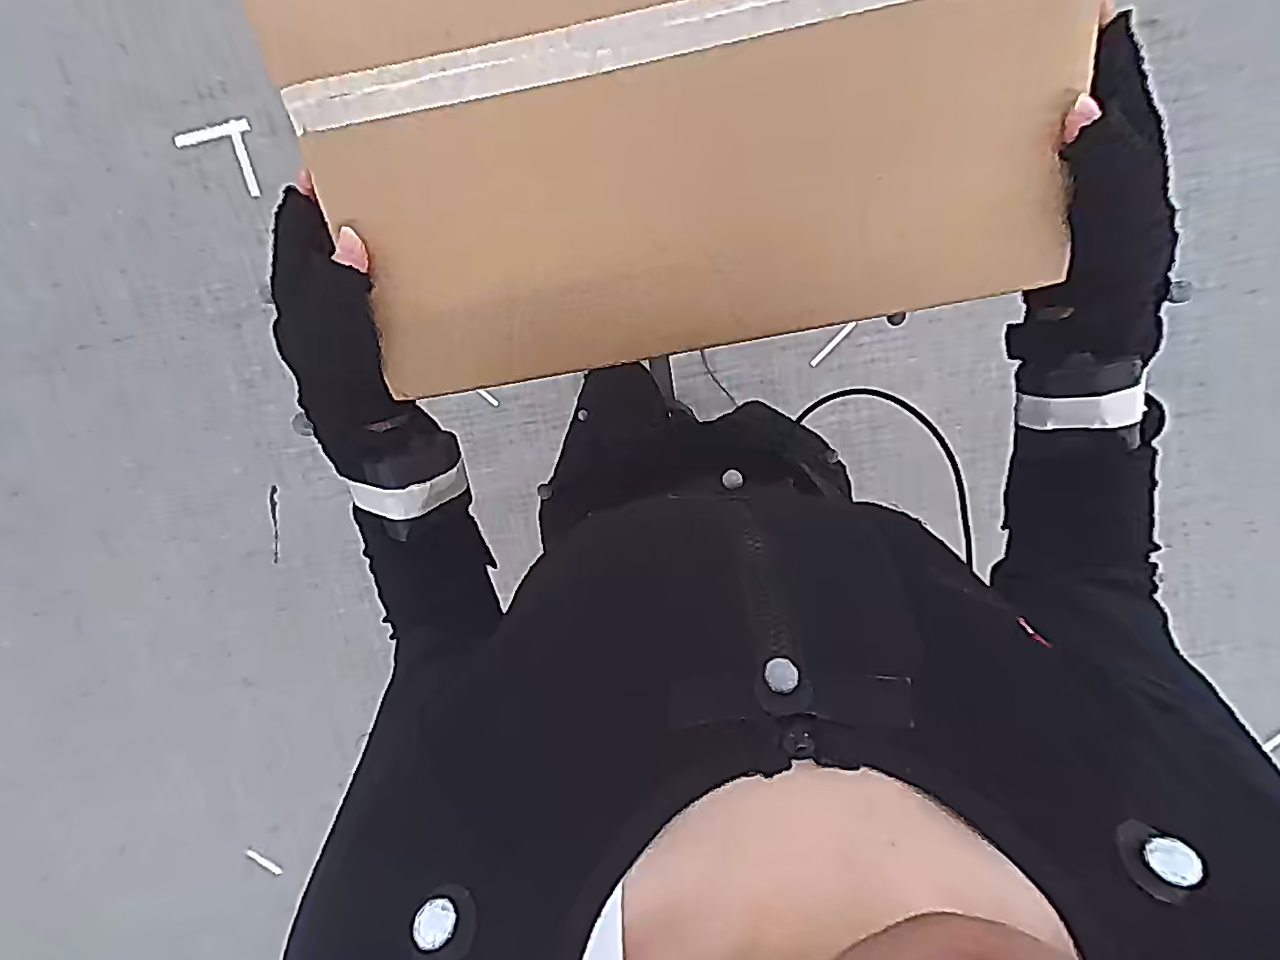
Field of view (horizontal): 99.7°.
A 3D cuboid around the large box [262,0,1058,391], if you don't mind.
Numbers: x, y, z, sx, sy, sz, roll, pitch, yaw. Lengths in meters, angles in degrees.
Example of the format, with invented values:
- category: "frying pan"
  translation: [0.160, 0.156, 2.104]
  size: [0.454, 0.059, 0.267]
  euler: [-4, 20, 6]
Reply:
- category: "large box"
  translation: [0.014, -0.287, 0.414]
  size: [0.408, 0.320, 0.320]
  euler: [-9, 111, 4]
